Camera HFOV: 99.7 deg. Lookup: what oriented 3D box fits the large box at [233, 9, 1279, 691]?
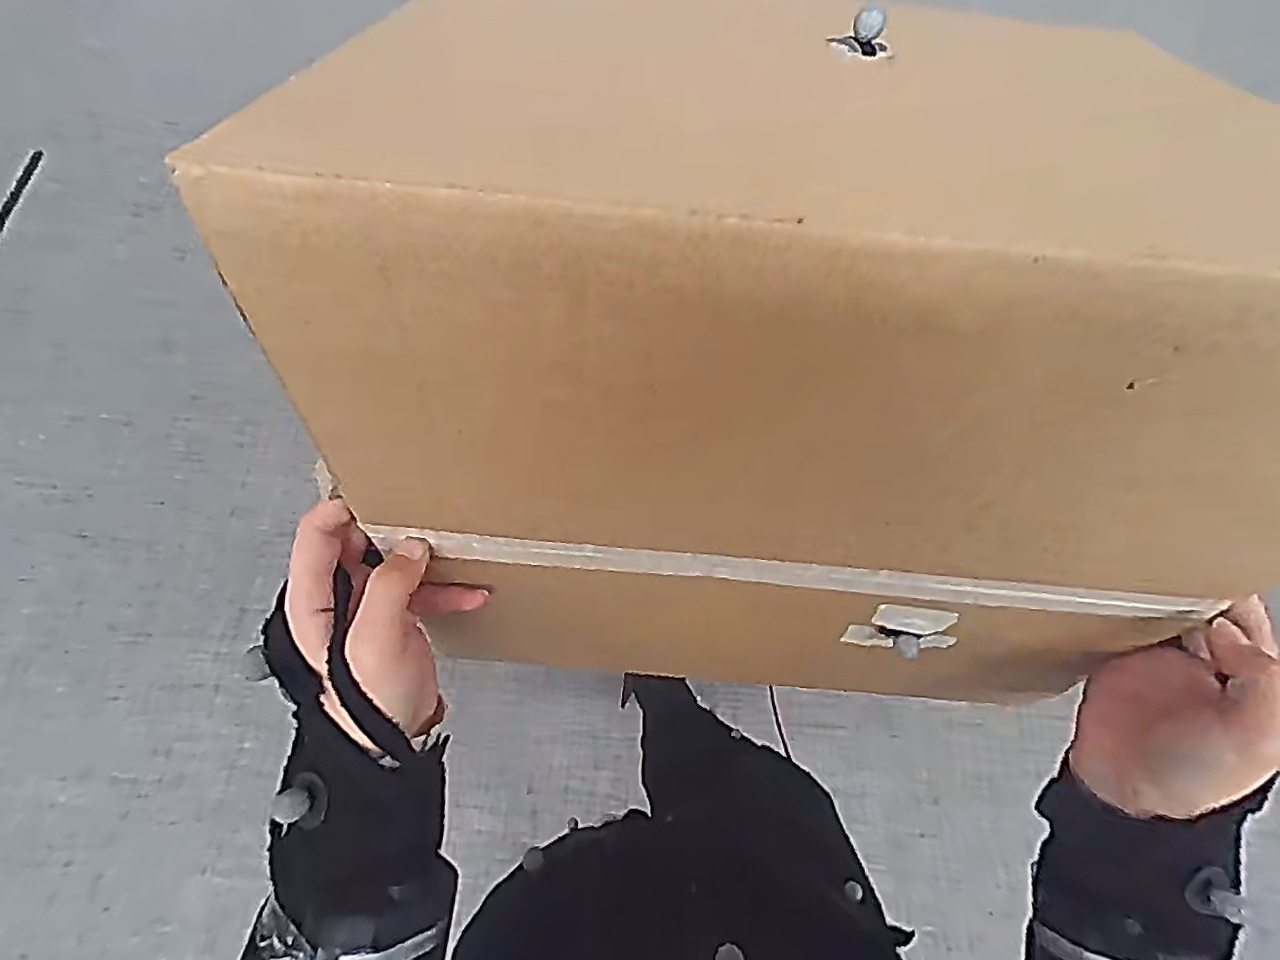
[{"bbox_3d":[0.079,-0.076,0.359,0.408,0.320,0.320,4,51,-1],"label":"large box"}]
